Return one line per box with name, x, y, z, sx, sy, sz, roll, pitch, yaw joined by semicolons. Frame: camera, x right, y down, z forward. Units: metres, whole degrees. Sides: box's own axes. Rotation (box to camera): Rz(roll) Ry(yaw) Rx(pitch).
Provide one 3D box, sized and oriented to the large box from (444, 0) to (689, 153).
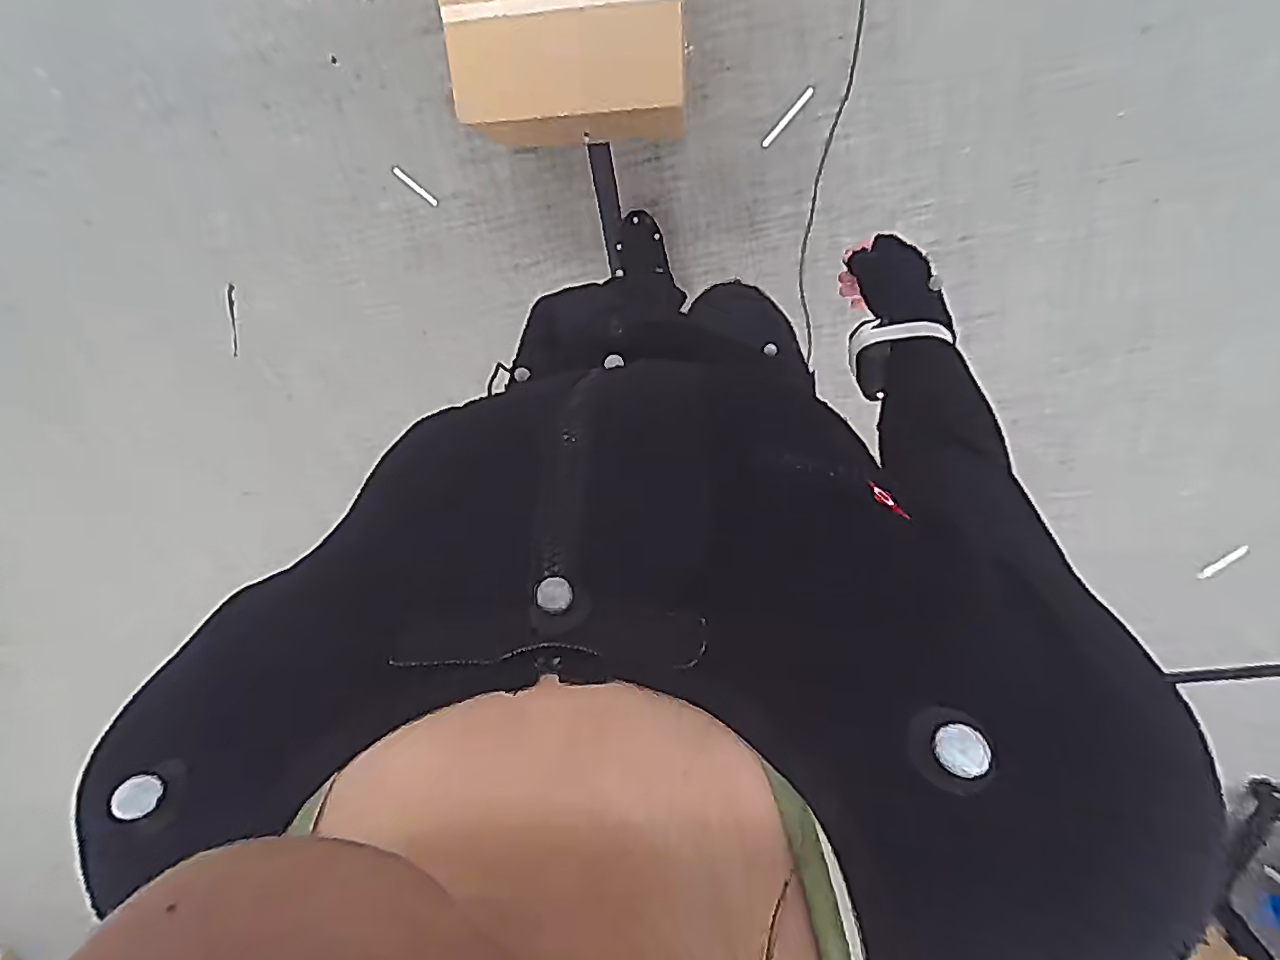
large box;-0.115;-0.836;1.023;0.408;0.320;0.320;-1;115;6
